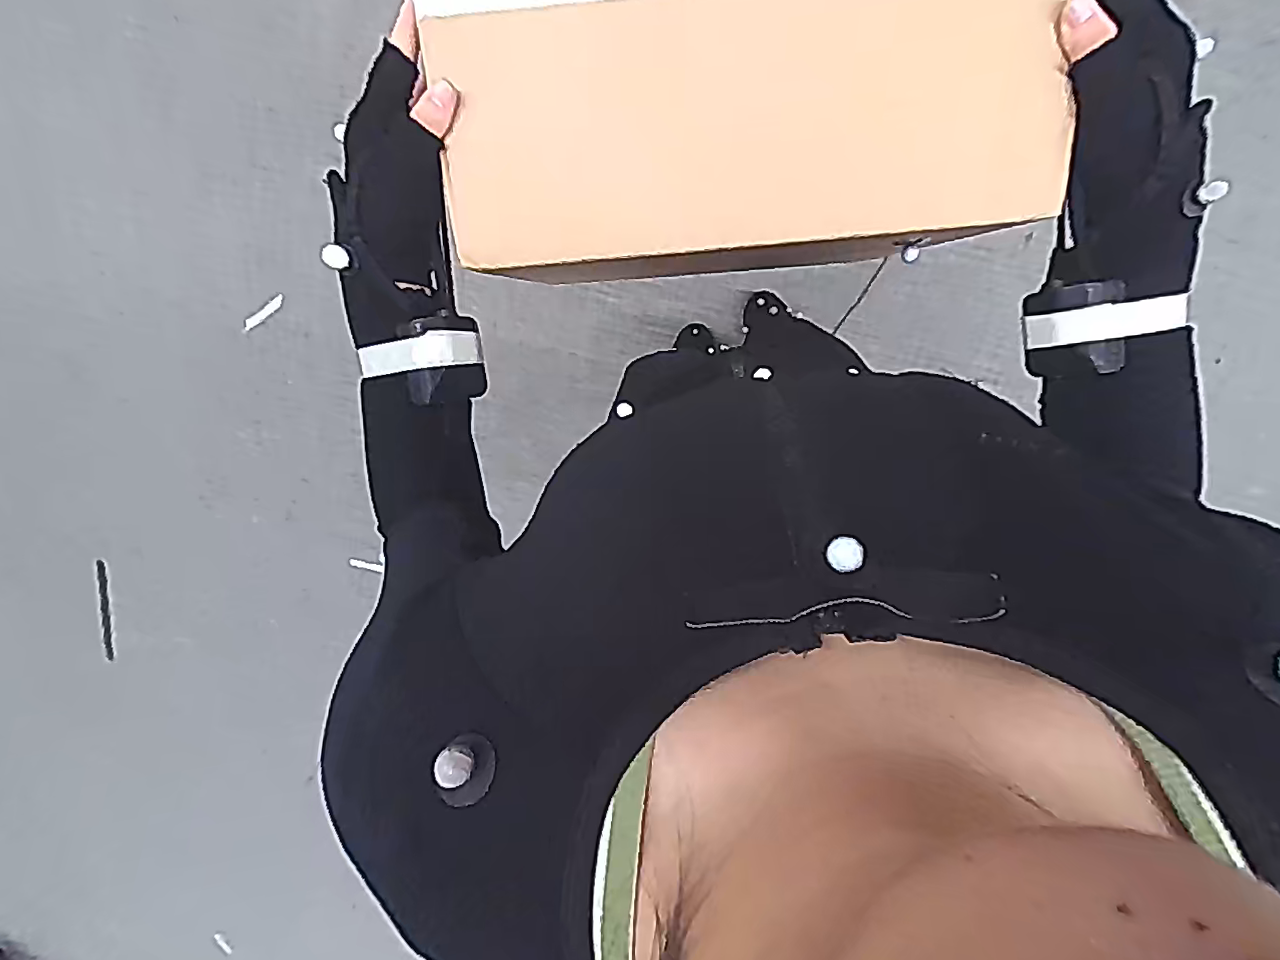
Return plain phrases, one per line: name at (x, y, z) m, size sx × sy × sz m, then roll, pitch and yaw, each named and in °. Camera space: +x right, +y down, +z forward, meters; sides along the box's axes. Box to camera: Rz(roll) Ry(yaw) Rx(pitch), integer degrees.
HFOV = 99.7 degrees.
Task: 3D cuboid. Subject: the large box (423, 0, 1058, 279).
large box at (0.065, -0.361, 0.475) m, size 0.408 × 0.320 × 0.320 m, roll -4°, pitch 108°, yaw 3°
